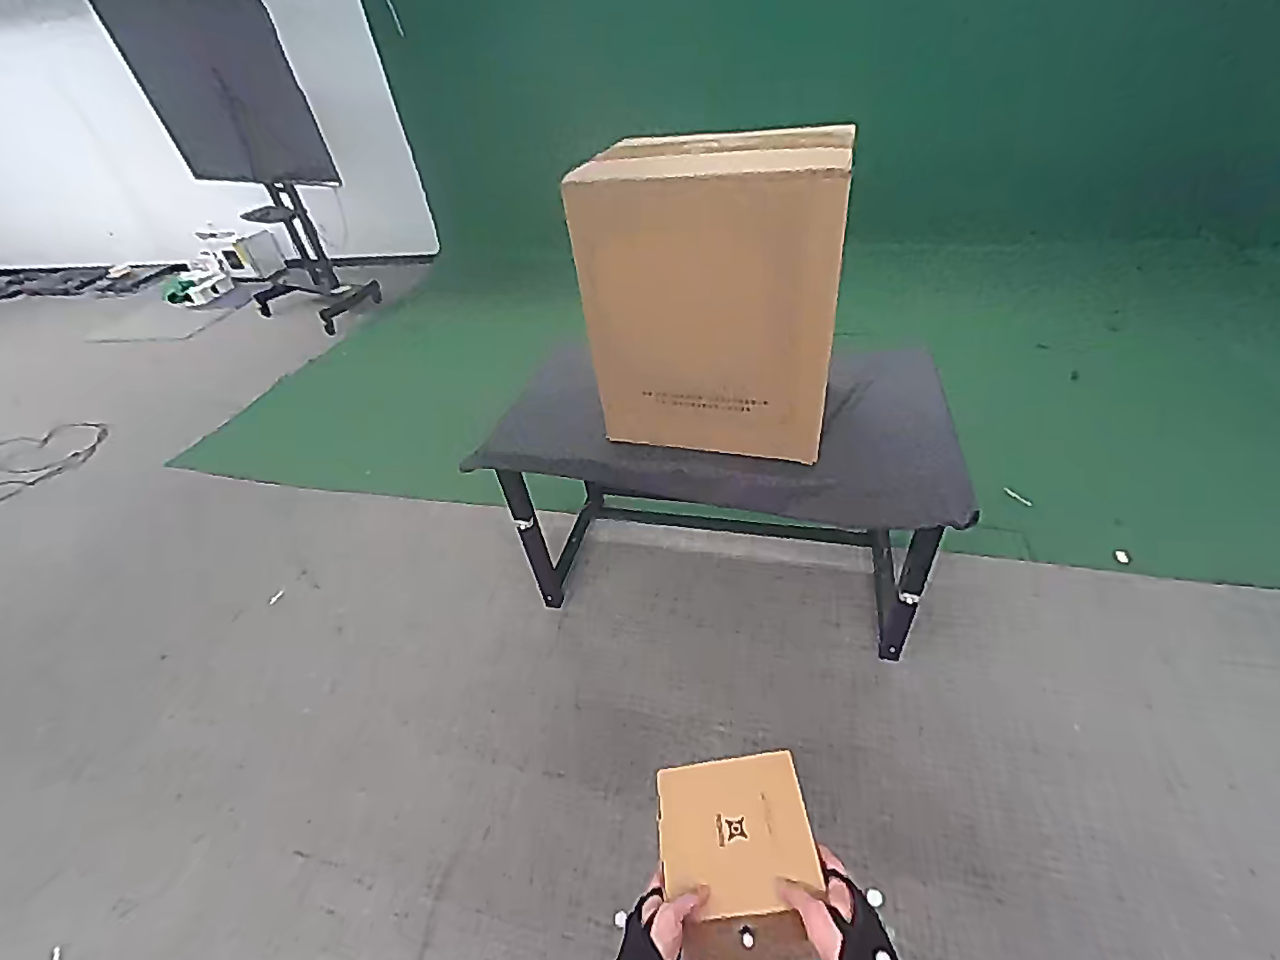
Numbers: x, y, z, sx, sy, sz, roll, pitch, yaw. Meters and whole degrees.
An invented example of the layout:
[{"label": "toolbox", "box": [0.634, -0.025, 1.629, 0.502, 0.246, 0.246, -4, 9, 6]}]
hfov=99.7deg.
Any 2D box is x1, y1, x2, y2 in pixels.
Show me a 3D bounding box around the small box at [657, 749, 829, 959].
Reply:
[{"label": "small box", "box": [0.126, 0.471, 0.676, 0.179, 0.176, 0.168, -11, 34, 3]}]
